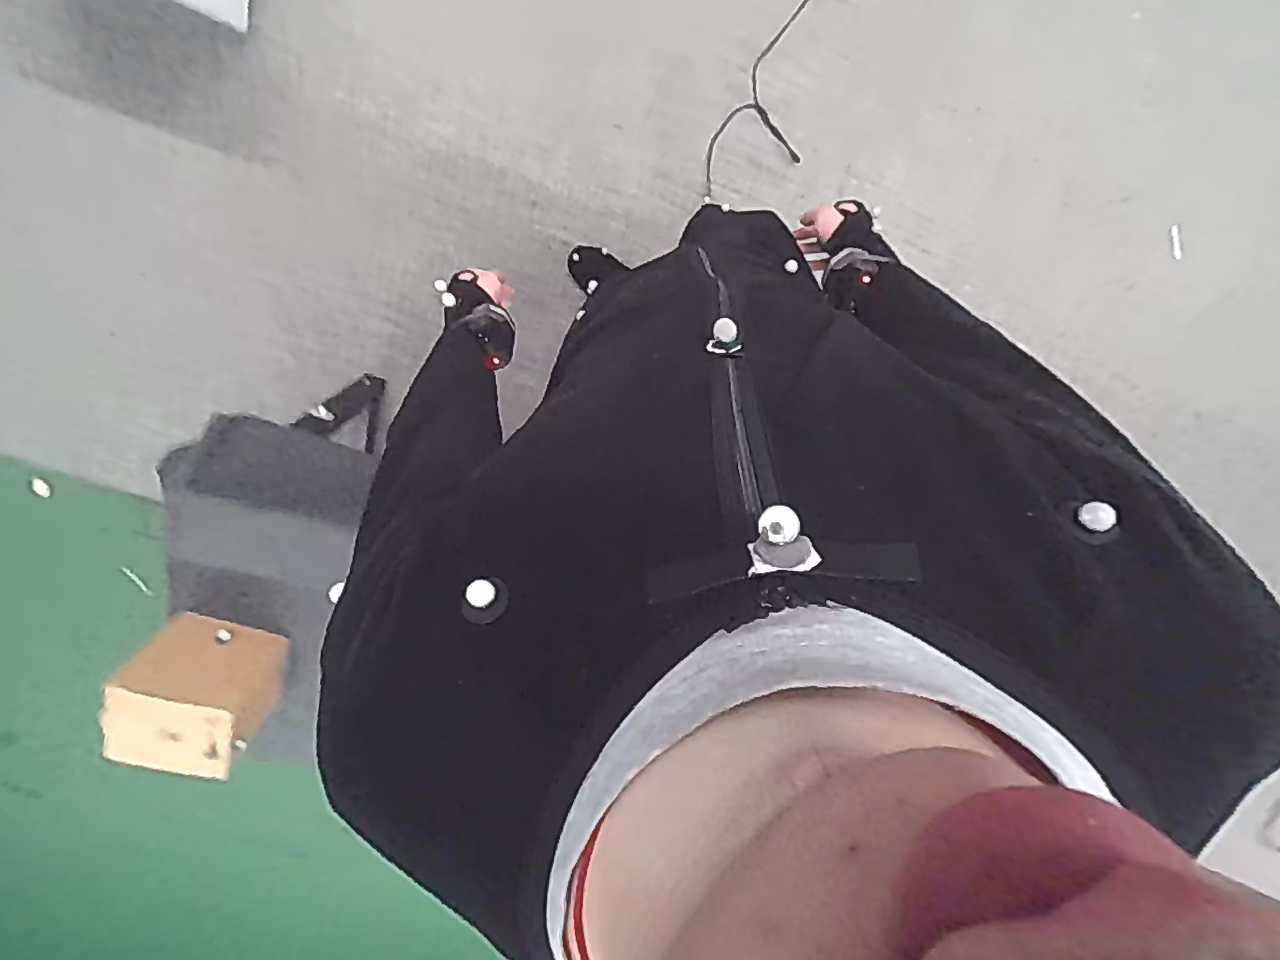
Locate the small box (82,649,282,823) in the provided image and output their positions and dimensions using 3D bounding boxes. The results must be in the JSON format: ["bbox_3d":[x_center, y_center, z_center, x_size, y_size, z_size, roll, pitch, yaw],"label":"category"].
[{"bbox_3d":[-0.711,0.395,0.853,0.179,0.176,0.168,18,112,-13],"label":"small box"}]
